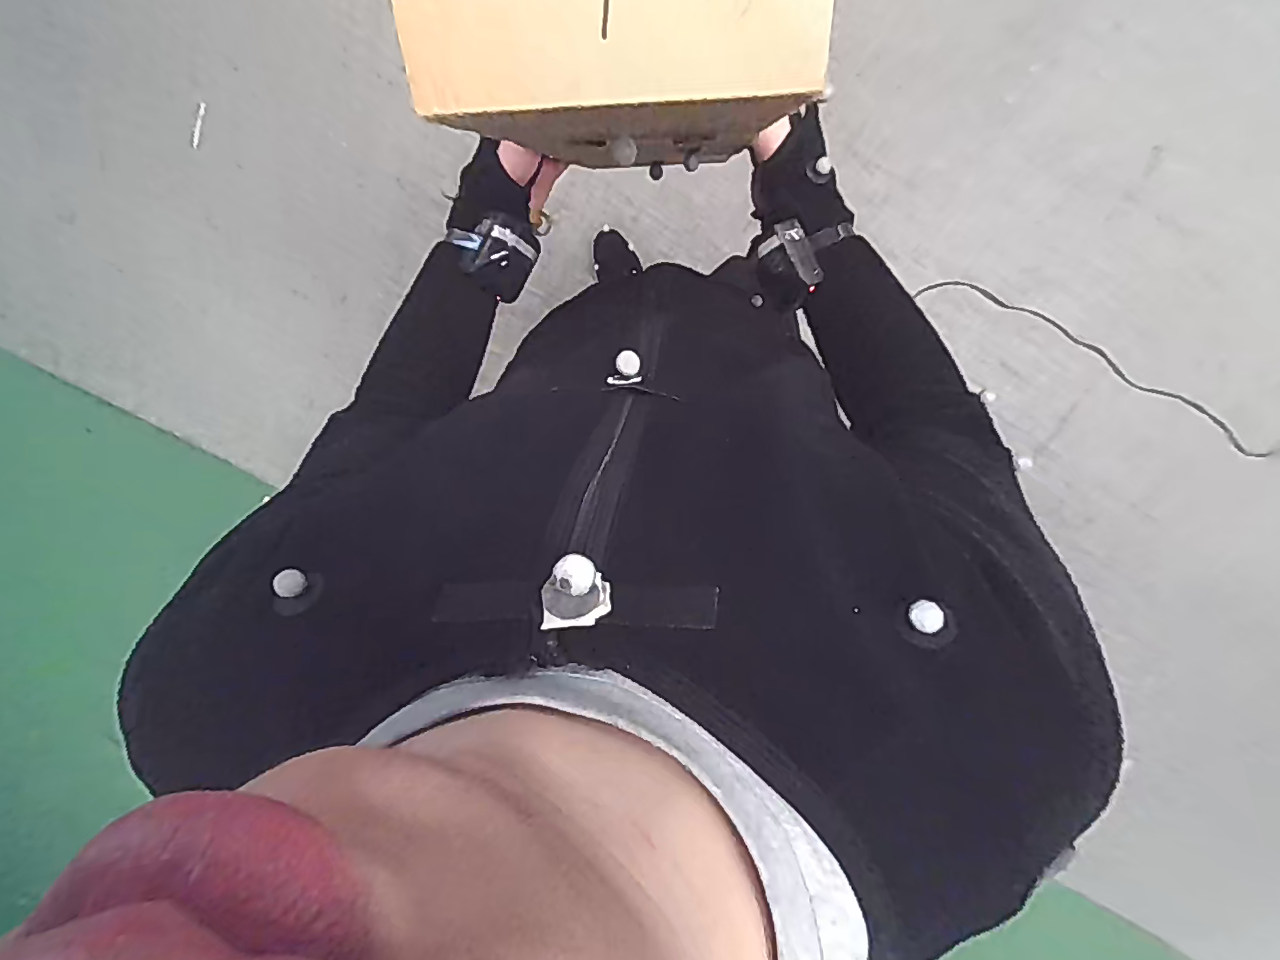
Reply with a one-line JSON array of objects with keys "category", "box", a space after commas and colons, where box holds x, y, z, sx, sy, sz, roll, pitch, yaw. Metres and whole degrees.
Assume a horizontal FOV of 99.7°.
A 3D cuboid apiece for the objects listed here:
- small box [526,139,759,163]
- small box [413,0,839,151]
[{"category": "small box", "box": [0.005, -0.339, 0.399, 0.168, 0.176, 0.179, -1, 117, 4]}, {"category": "small box", "box": [-0.004, -0.263, 0.253, 0.168, 0.176, 0.179, 0, 119, 4]}]
